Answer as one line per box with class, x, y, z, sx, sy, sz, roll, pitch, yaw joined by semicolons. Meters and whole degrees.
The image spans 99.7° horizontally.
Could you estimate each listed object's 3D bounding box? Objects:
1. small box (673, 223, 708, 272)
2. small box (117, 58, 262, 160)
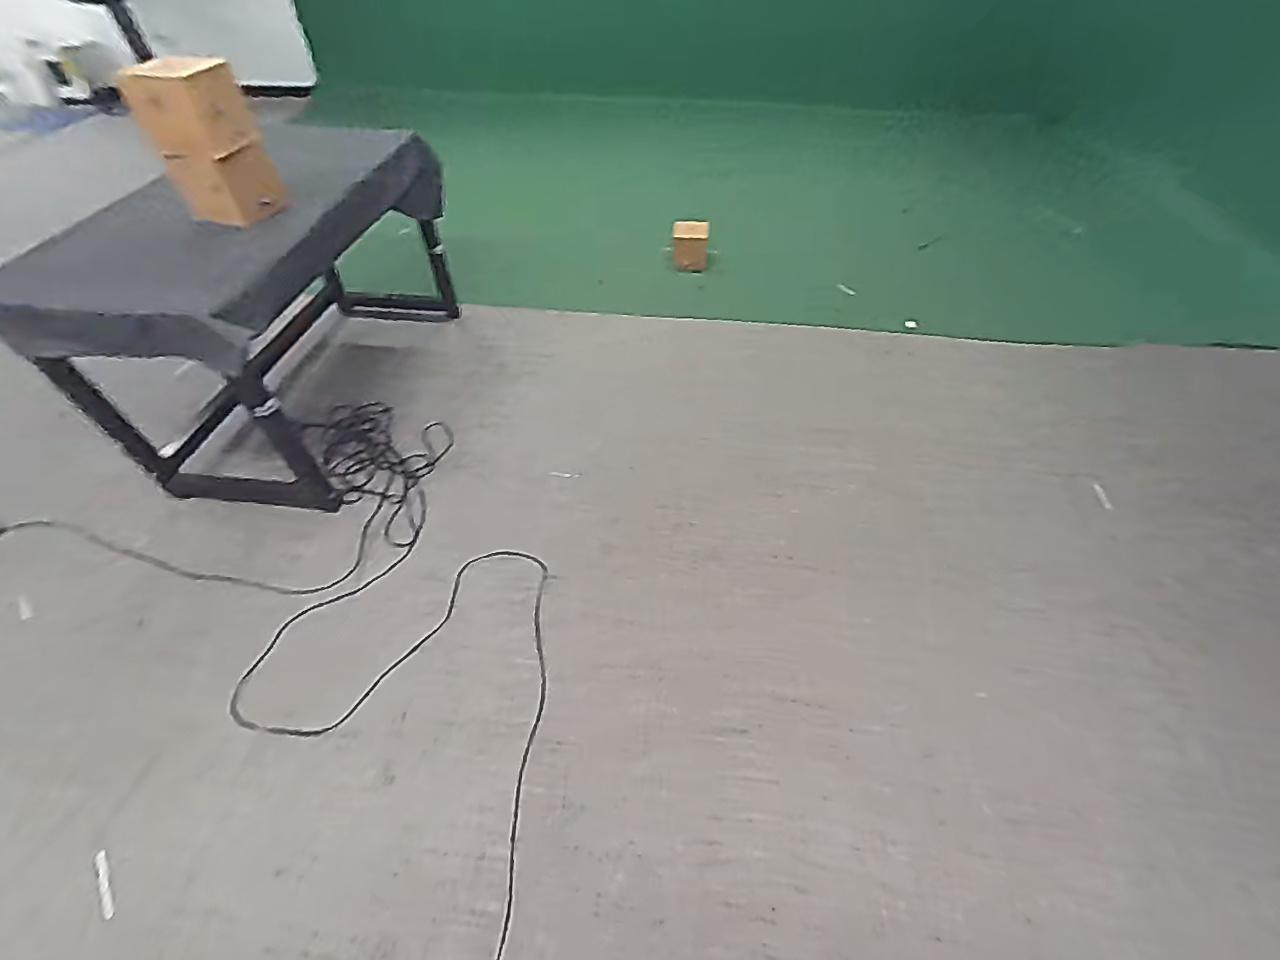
small box;0.254;-1.177;2.739;0.168;0.176;0.179;4;50;5
small box;-1.082;-0.903;1.320;0.179;0.176;0.168;7;50;6
